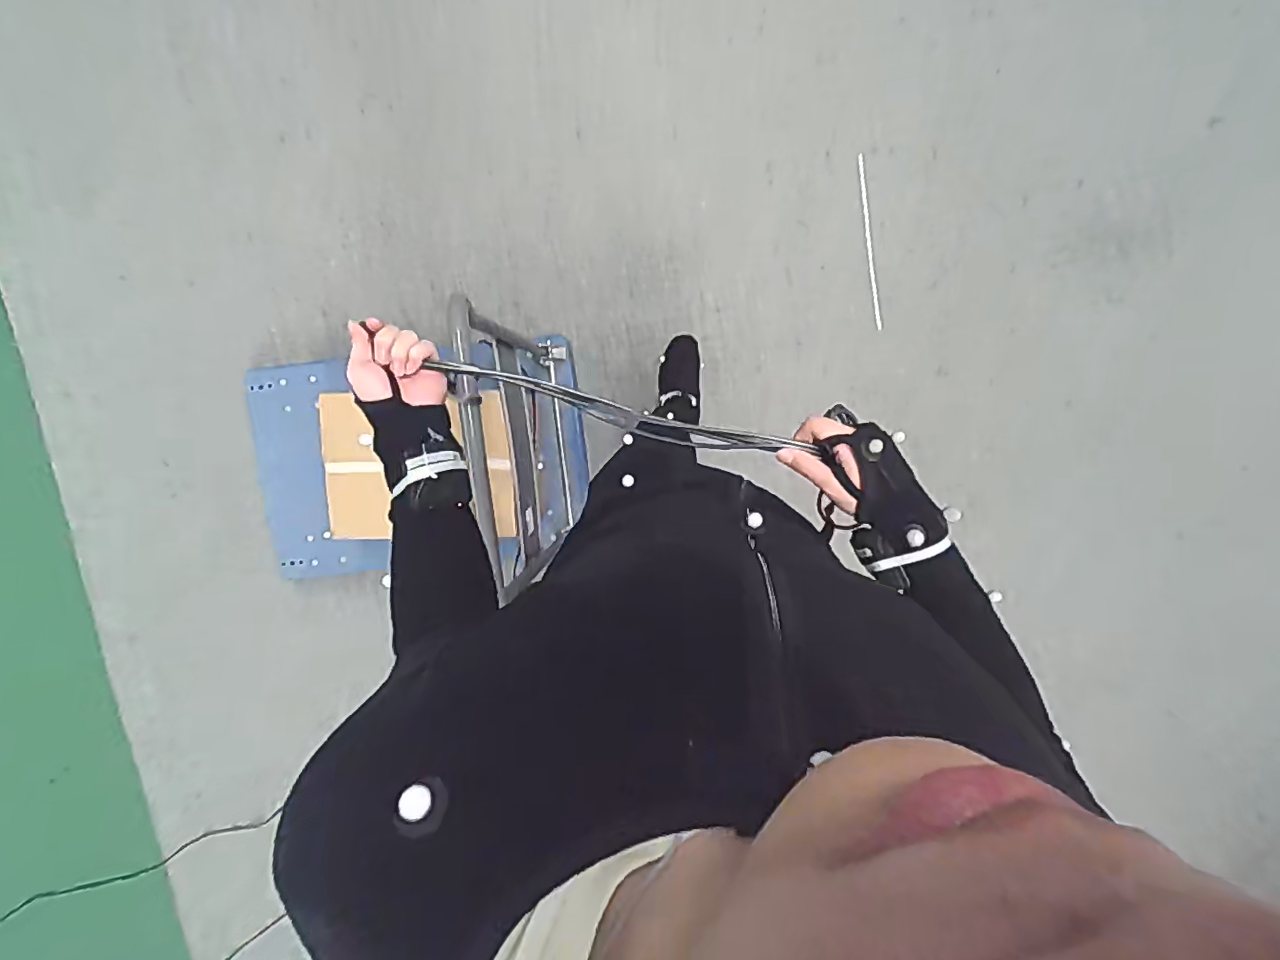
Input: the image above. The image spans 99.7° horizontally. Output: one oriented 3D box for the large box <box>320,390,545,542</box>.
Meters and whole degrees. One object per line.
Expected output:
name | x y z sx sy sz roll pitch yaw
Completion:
large box | -0.456 -0.043 1.275 0.408 0.320 0.320 -1 96 1
